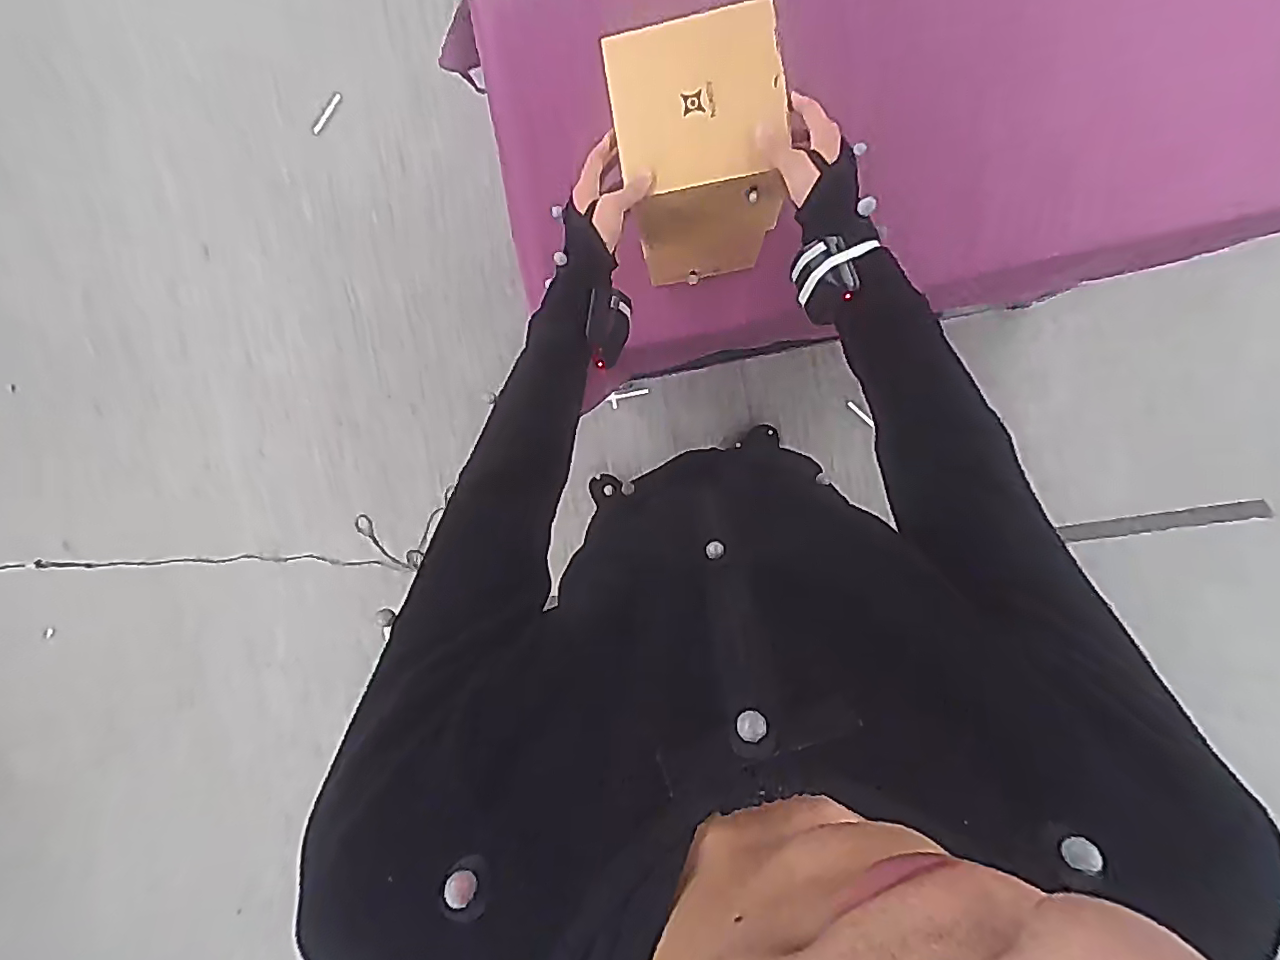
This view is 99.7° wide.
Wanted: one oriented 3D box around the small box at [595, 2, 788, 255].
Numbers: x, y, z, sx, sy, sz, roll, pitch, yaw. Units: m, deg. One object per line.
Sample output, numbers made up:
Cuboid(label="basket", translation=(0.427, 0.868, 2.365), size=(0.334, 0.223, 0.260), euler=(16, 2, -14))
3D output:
Cuboid(label="small box", translation=(0.060, -0.377, 0.618), size=(0.179, 0.176, 0.168), euler=(-9, 94, 7))

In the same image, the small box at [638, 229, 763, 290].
Cuboid(label="small box", translation=(0.074, -0.395, 0.779), size=(0.168, 0.176, 0.179), euler=(-9, 94, 8))
